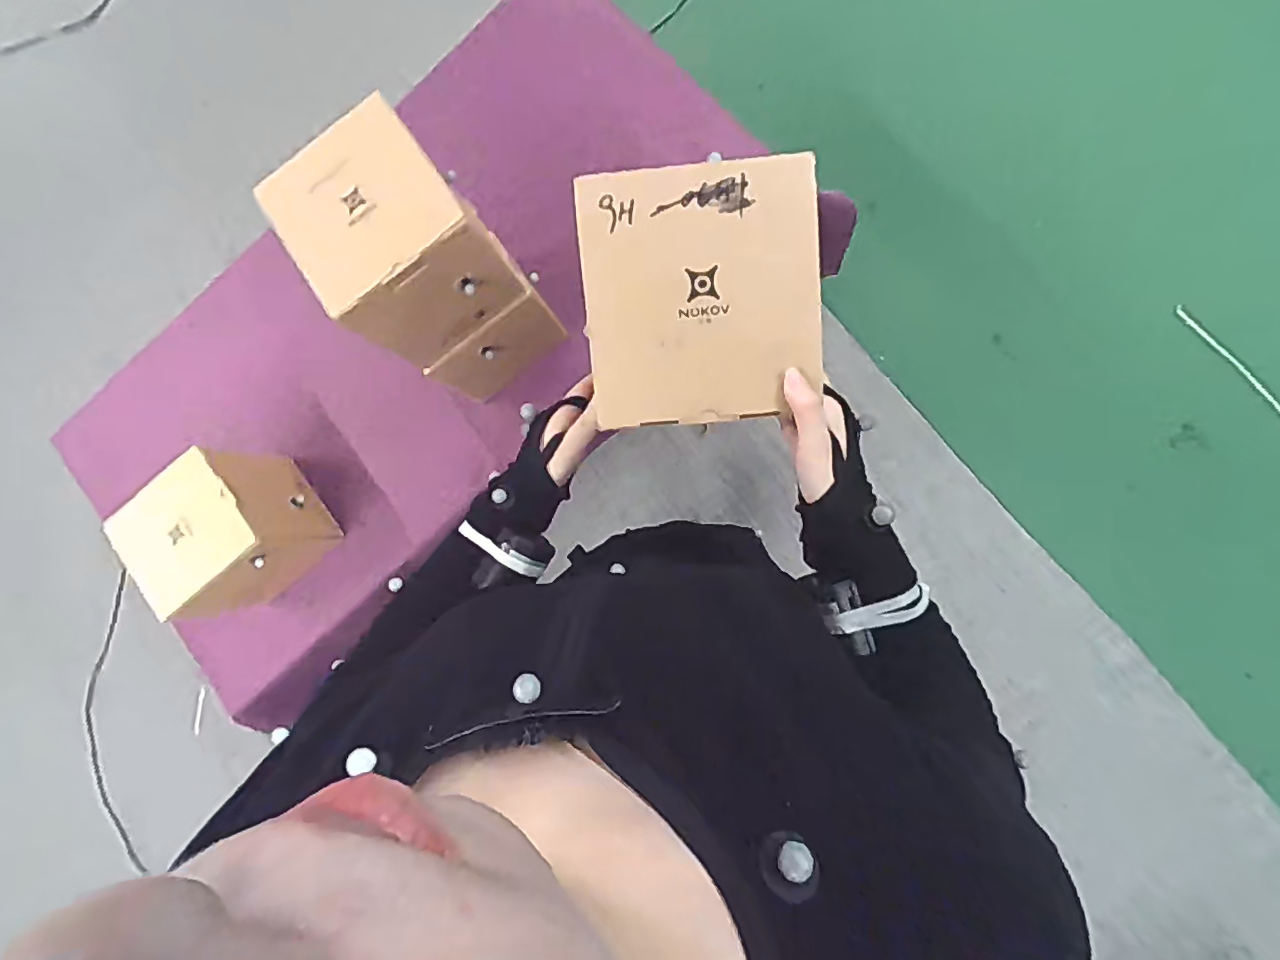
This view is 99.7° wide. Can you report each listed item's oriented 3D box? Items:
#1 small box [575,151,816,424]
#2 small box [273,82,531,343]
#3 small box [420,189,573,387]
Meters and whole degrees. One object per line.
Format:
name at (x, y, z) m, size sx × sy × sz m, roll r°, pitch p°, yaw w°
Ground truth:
small box at (0.044, -0.146, 0.458) m, size 0.168 × 0.176 × 0.179 m, roll -3°, pitch 100°, yaw 3°
small box at (-0.251, -0.277, 0.611) m, size 0.168 × 0.176 × 0.179 m, roll -33°, pitch 81°, yaw 4°
small box at (-0.222, -0.256, 0.771) m, size 0.179 × 0.176 × 0.168 m, roll -34°, pitch 82°, yaw 5°
